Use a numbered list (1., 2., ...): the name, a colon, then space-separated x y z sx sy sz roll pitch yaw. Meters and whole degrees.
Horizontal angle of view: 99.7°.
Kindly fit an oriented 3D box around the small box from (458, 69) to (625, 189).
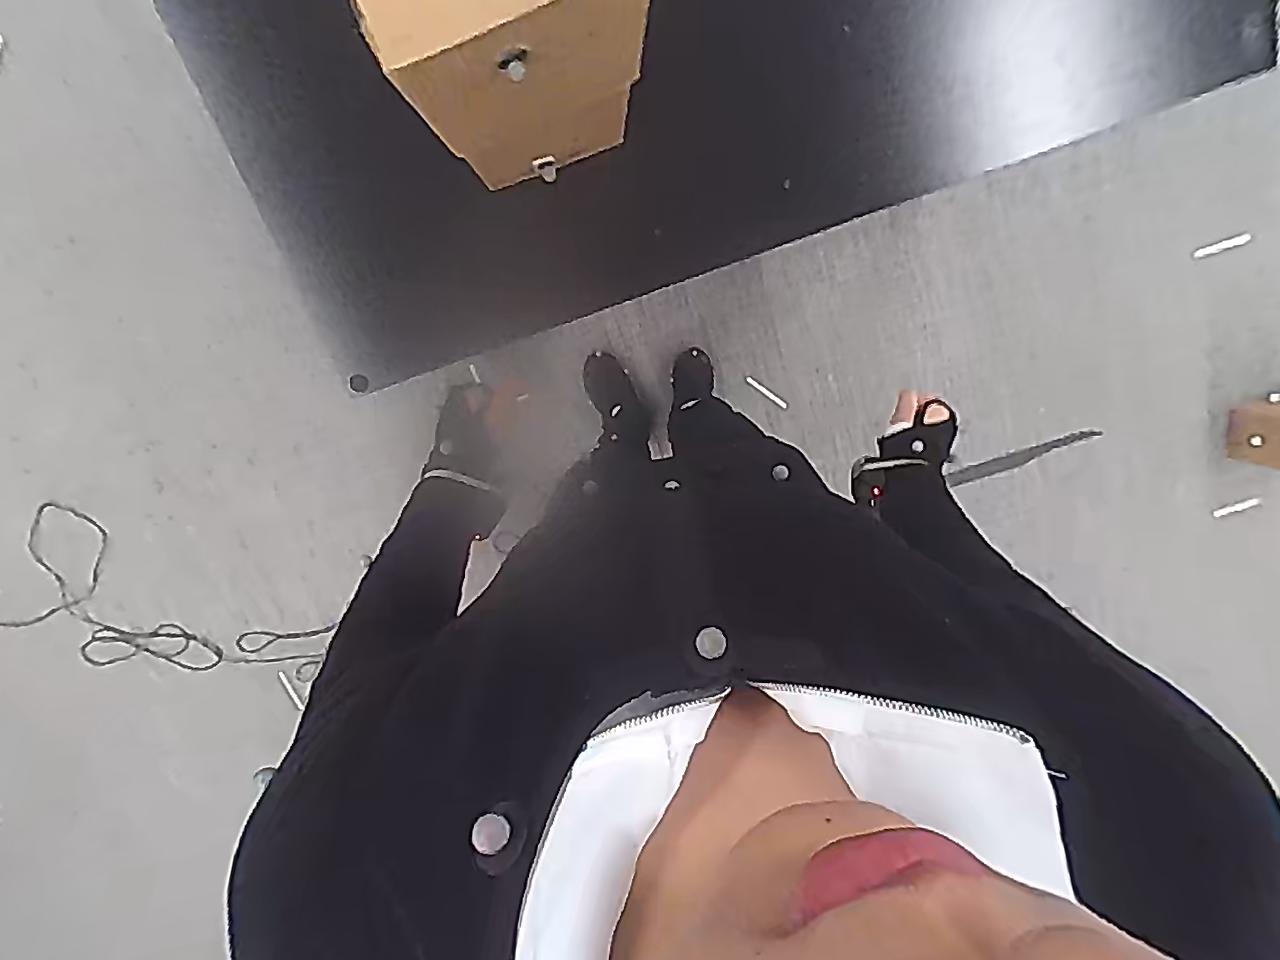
1. small box: -0.124 -0.423 0.535 0.168 0.176 0.179 -21 107 3

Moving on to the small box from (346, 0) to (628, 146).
1. small box: -0.112 -0.371 0.378 0.179 0.176 0.168 -22 106 2

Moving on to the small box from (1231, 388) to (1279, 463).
1. small box: 1.825 -0.153 1.516 0.179 0.176 0.168 -19 107 2
